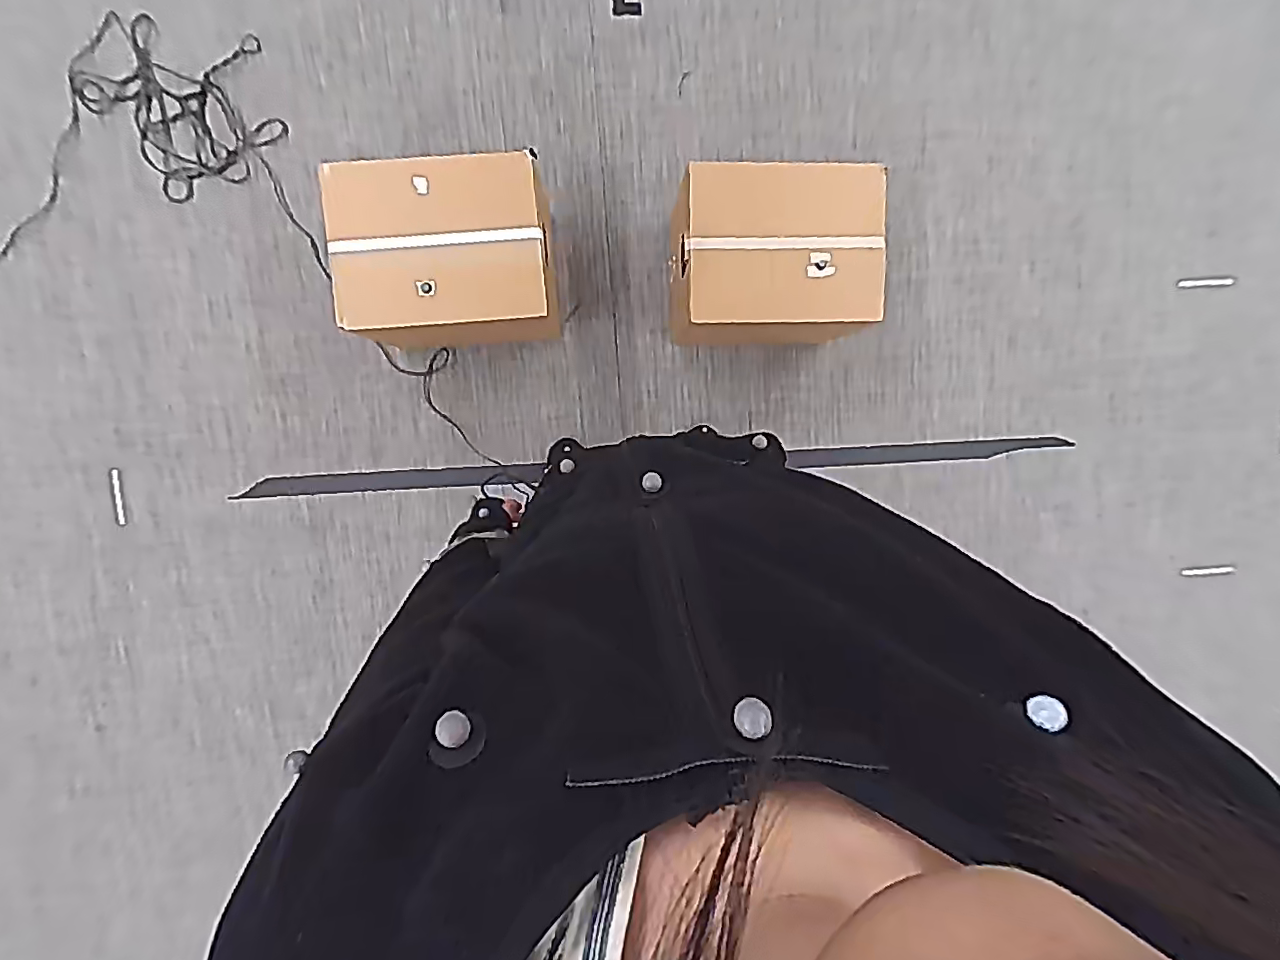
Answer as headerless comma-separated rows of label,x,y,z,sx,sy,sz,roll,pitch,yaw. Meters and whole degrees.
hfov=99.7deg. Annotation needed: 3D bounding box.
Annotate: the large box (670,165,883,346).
large box,0.288,-0.494,1.249,0.408,0.320,0.320,-1,96,-4
